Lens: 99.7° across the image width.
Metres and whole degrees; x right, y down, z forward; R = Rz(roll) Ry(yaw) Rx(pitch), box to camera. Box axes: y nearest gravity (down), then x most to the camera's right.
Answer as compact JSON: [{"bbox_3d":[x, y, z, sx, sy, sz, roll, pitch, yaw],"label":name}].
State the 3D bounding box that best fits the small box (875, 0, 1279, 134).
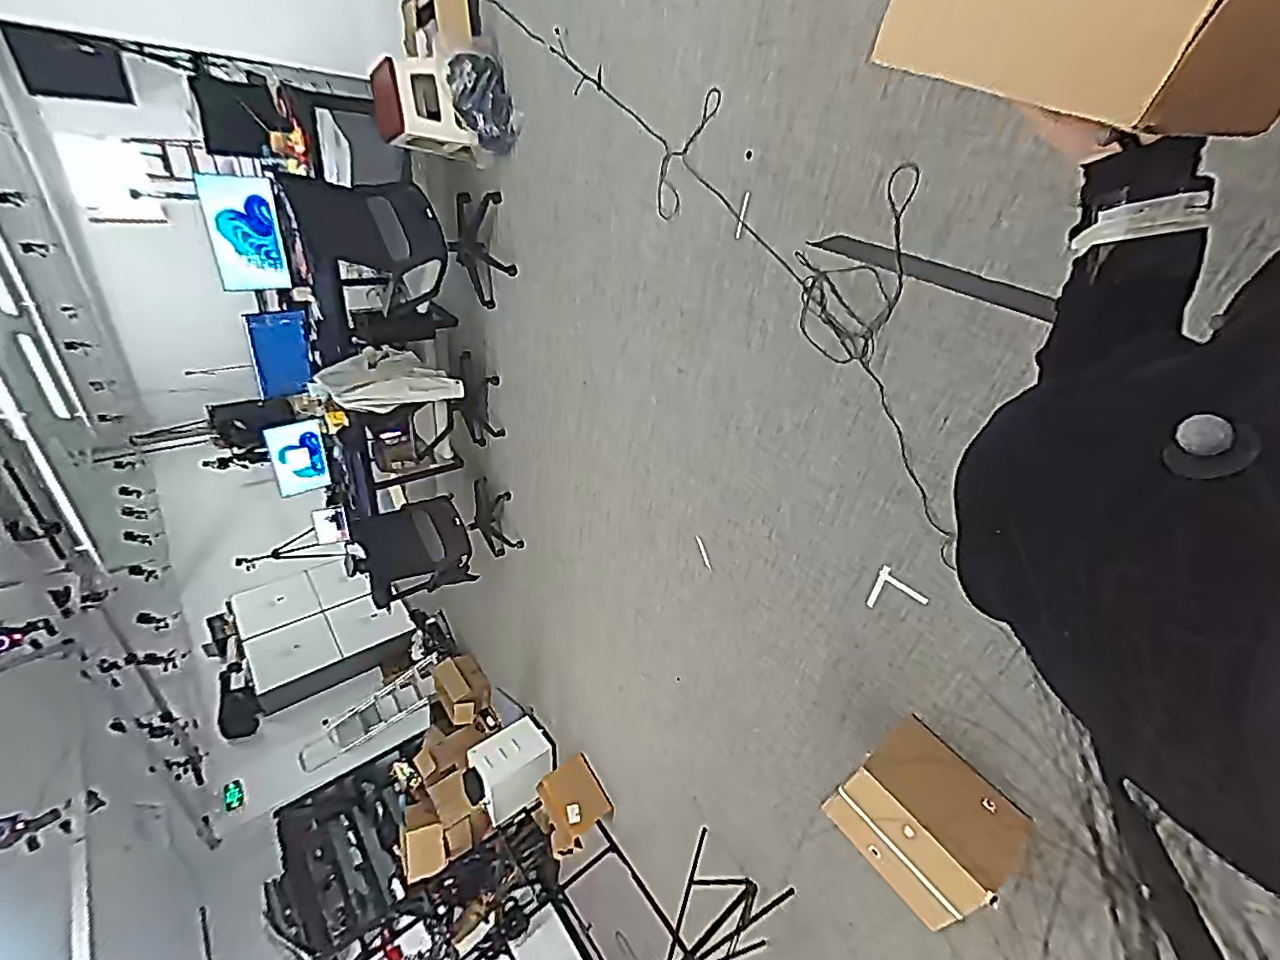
[{"bbox_3d":[0.276,-0.302,0.288,0.179,0.176,0.168,53,148,37],"label":"small box"}]
